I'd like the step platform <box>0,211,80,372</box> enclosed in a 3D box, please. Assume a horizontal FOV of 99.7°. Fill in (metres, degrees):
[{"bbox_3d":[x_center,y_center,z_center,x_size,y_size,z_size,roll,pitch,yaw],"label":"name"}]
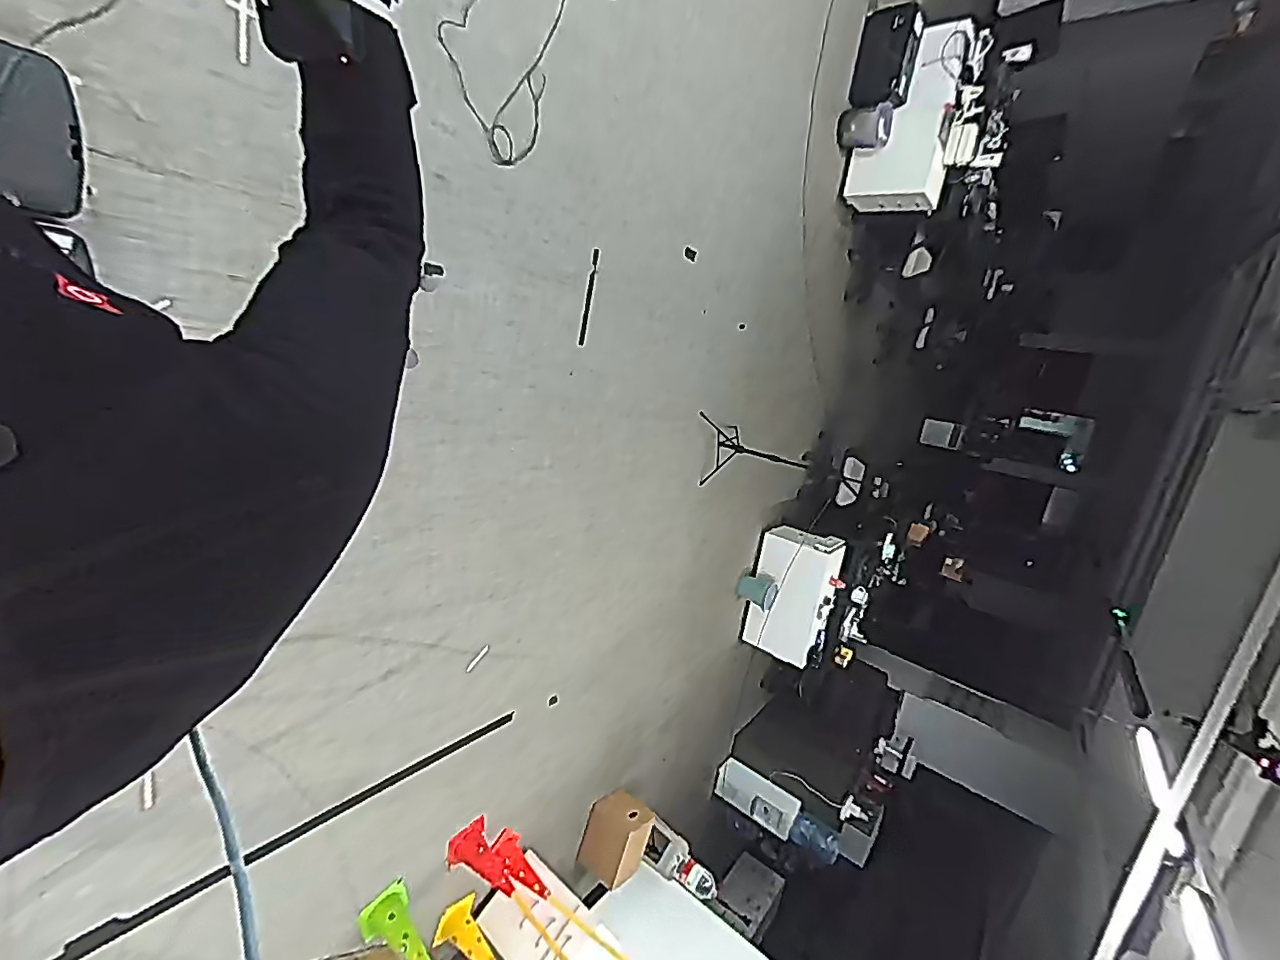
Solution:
[{"bbox_3d":[-1.345,-0.324,0.824,0.684,0.204,0.286,-10,113,-50],"label":"step platform"}]
